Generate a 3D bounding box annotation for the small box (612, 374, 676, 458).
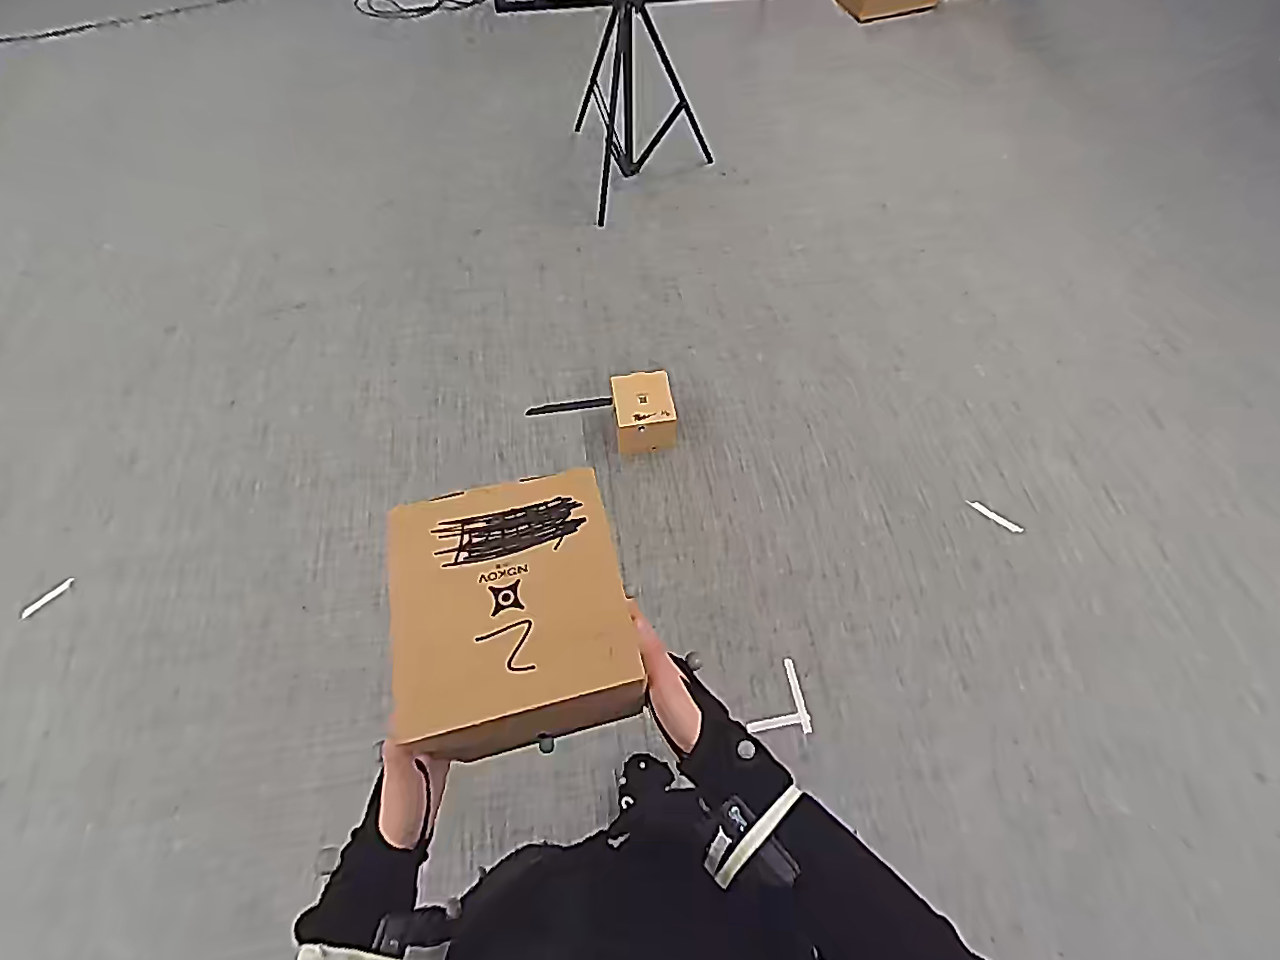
[{"bbox_3d":[0.007,-0.187,1.606,0.168,0.176,0.179,-8,63,-5],"label":"small box"}]
